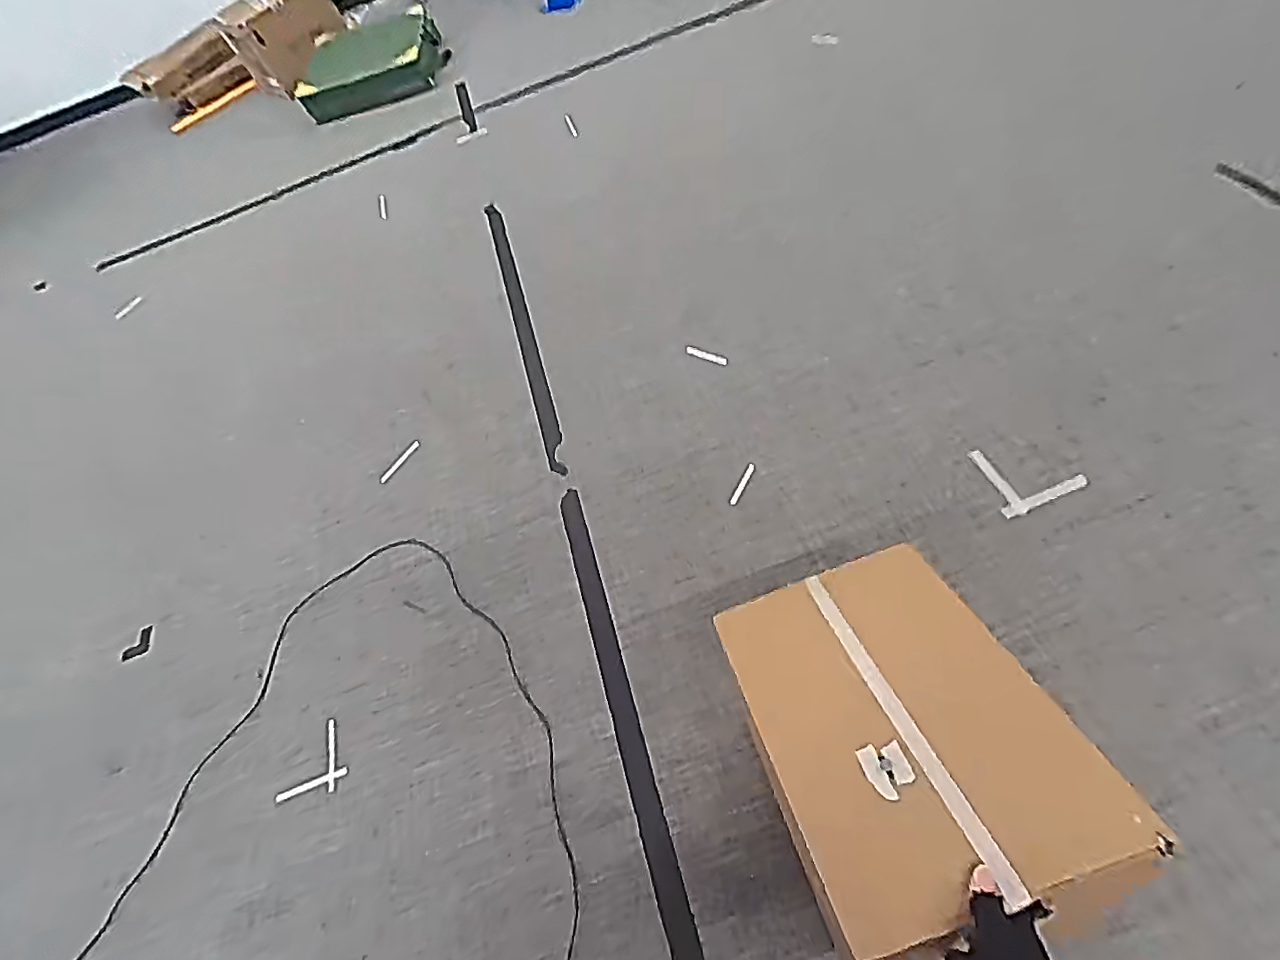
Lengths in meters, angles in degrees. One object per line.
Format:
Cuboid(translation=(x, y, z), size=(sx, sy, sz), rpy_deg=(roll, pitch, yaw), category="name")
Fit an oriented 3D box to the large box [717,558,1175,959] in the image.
Cuboid(translation=(0.340, 0.387, 0.732), size=(0.320, 0.320, 0.408), rpy_deg=(-22, 37, 1), category="large box")
